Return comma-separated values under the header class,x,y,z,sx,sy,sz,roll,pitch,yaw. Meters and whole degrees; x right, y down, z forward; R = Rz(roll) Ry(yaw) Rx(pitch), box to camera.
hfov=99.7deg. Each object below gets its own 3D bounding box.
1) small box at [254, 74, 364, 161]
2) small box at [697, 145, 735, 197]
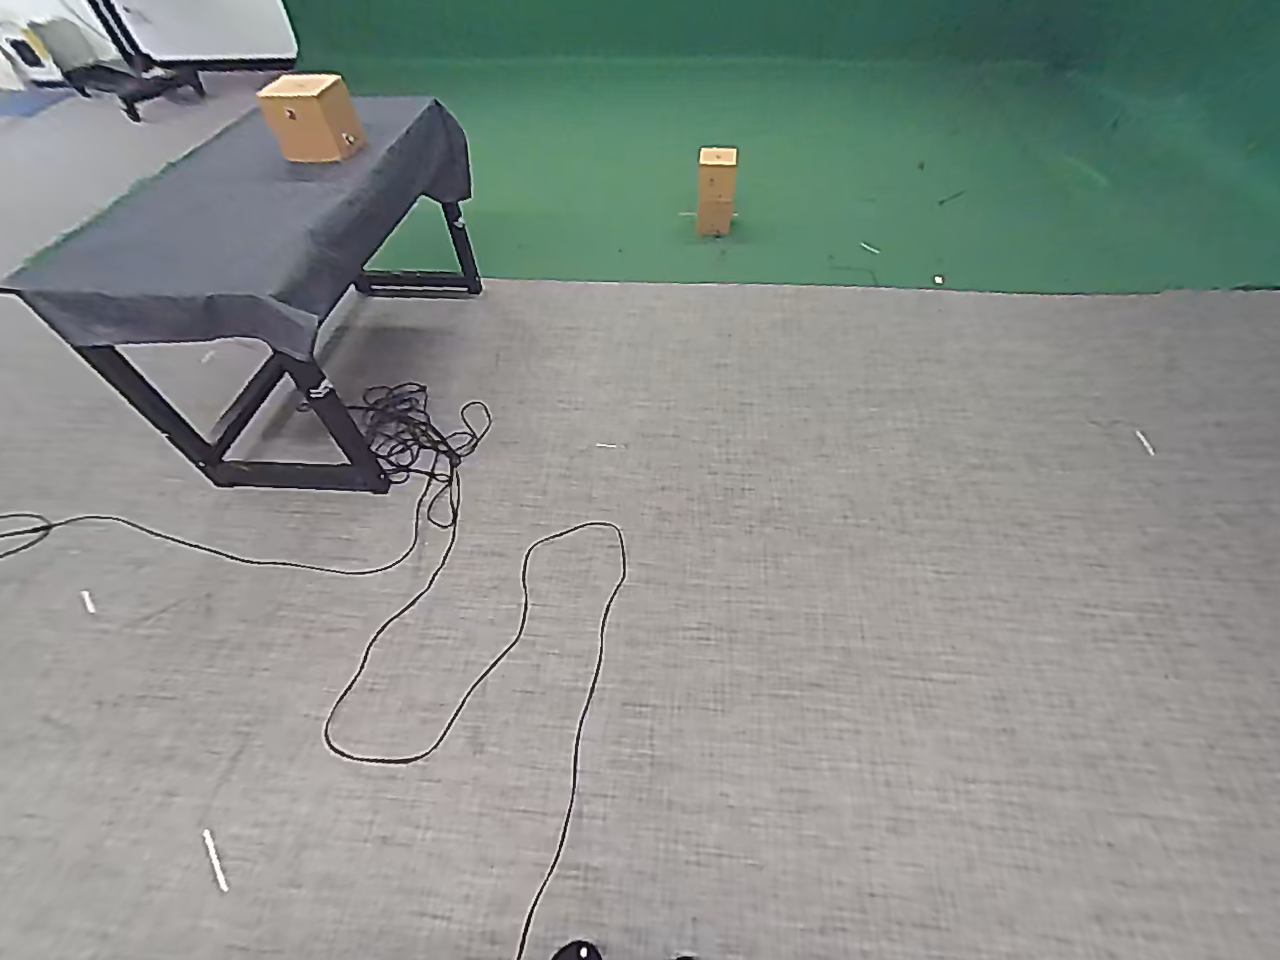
class,x,y,z,sx,sy,sz,roll,pitch,yaw
small box,-0.935,-1.034,1.545,0.179,0.176,0.168,4,53,4
small box,0.356,-1.446,2.533,0.168,0.176,0.179,4,52,6
